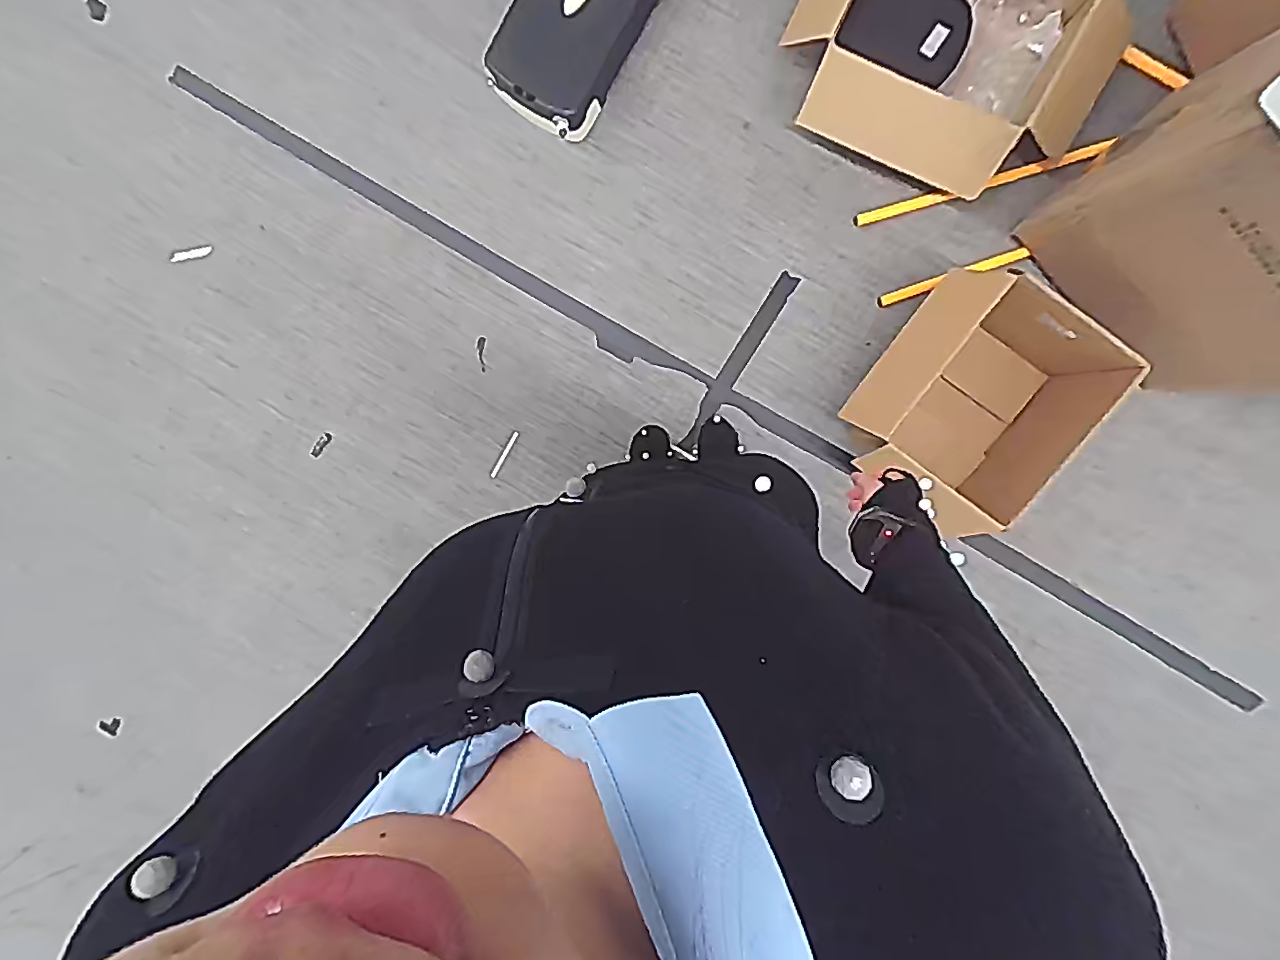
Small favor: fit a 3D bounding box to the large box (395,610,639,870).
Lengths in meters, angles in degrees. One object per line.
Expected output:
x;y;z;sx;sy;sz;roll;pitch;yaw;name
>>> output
-0.263;0.580;1.272;0.408;0.320;0.320;33;99;2;large box
